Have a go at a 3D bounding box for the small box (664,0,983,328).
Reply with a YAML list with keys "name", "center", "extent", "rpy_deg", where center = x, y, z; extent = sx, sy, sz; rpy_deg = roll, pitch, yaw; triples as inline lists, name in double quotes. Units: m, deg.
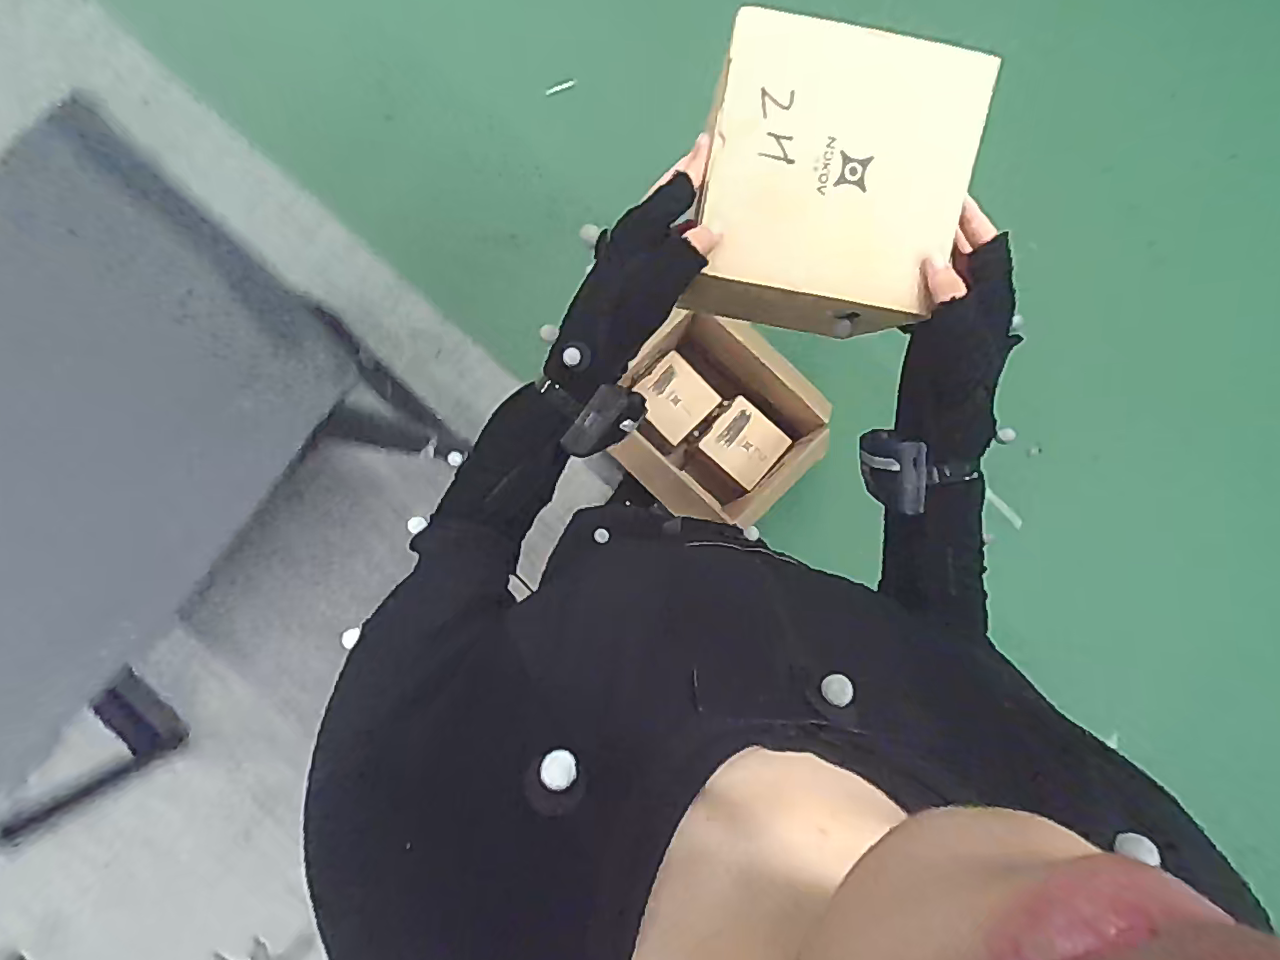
- name: "small box"
  center: [0.120, -0.222, 0.431]
  extent: [0.179, 0.176, 0.168]
  rpy_deg: [9, 99, -2]
